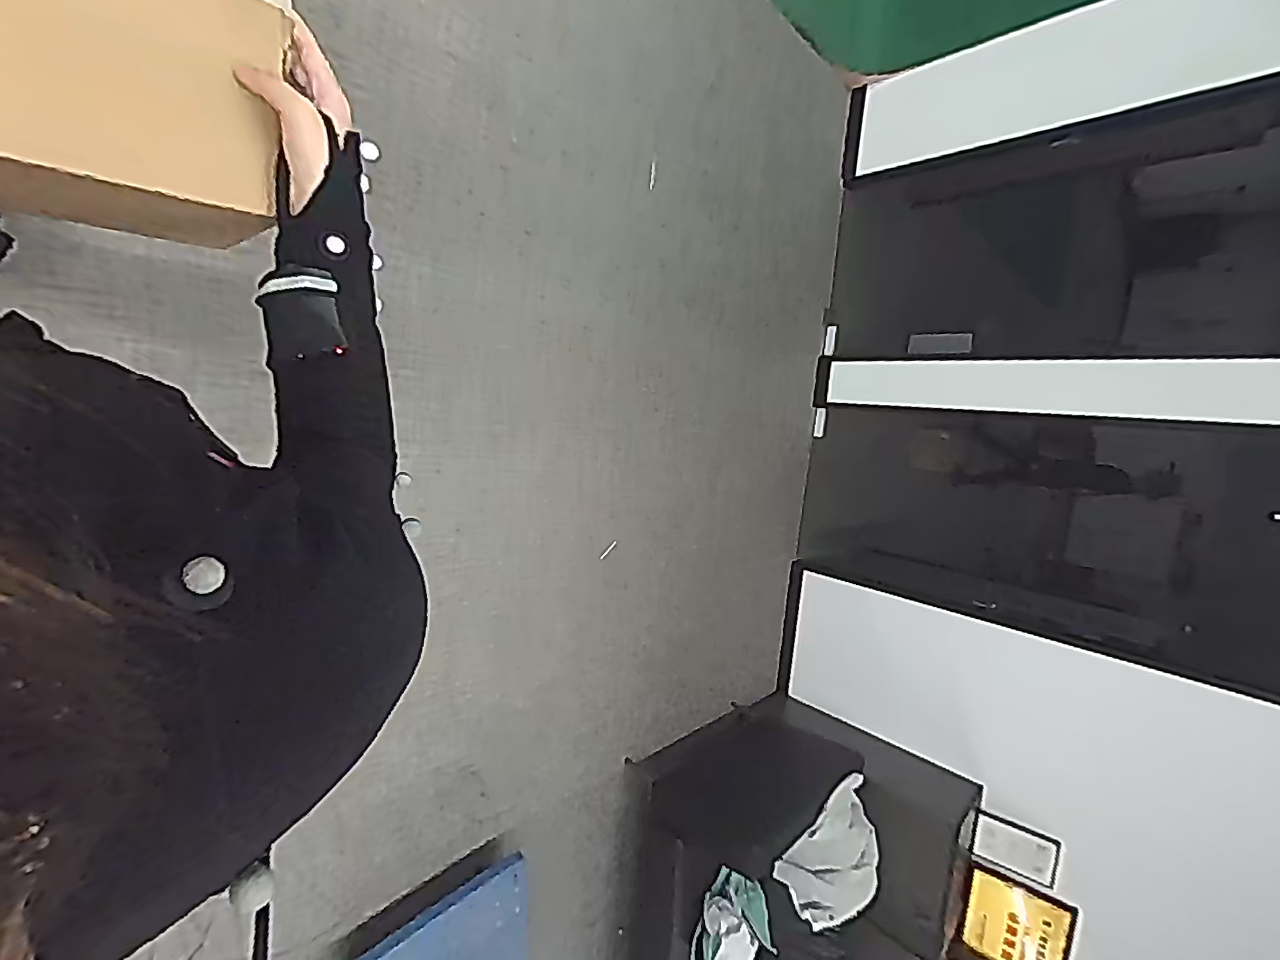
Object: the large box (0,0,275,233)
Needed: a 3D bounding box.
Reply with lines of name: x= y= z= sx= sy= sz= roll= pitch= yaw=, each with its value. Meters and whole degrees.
large box: x=-0.528 y=-0.386 z=0.380 sx=0.408 sy=0.320 sz=0.320 roll=-6 pitch=106 yaw=-43
